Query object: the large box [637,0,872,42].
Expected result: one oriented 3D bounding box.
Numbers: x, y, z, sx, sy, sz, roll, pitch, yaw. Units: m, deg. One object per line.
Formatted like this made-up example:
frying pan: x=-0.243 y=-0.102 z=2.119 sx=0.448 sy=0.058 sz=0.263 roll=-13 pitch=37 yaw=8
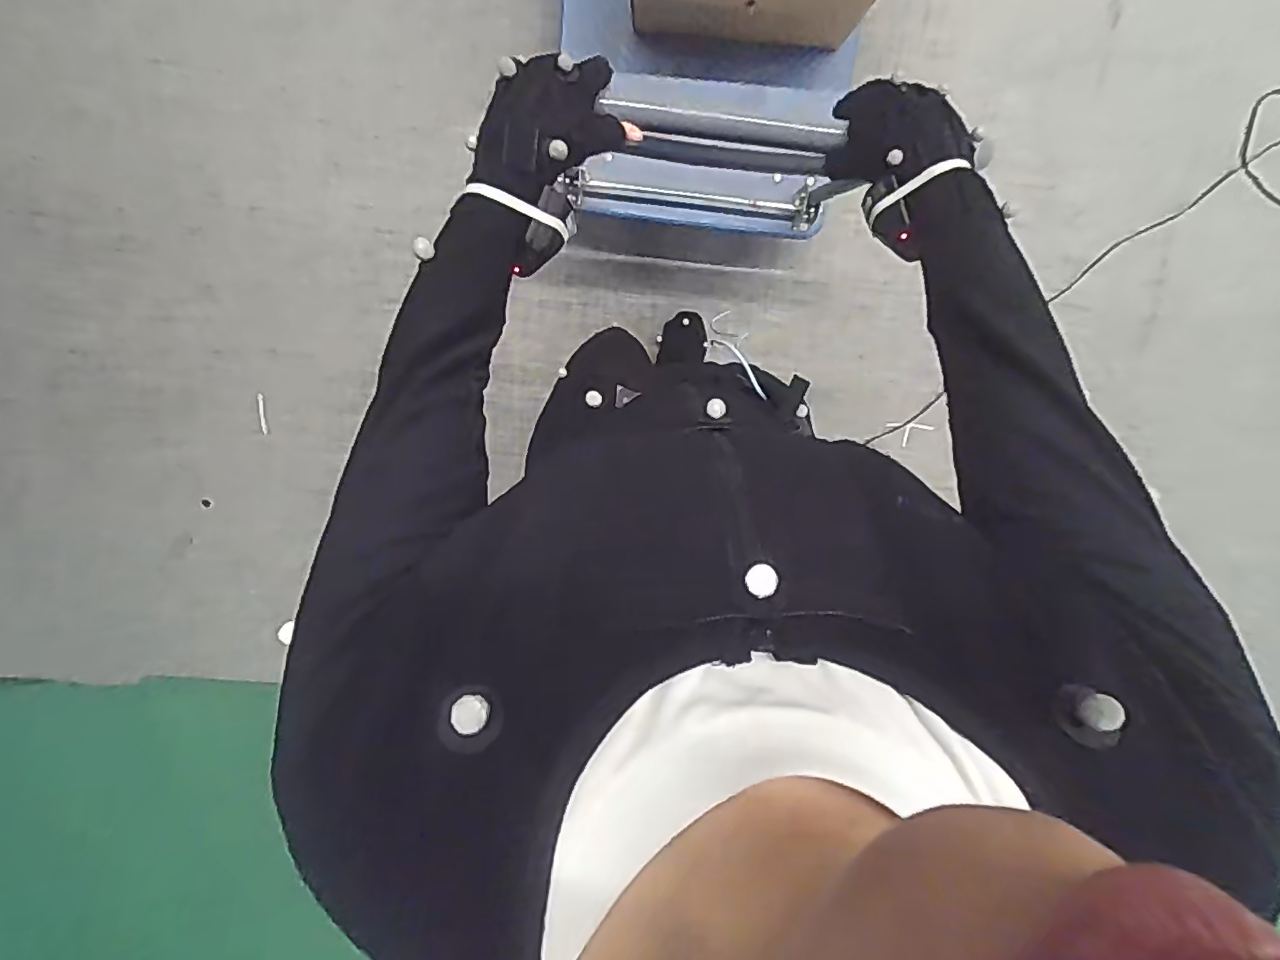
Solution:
large box: x=0.200 y=-0.957 z=0.871 sx=0.408 sy=0.320 sz=0.320 roll=3 pitch=108 yaw=0
